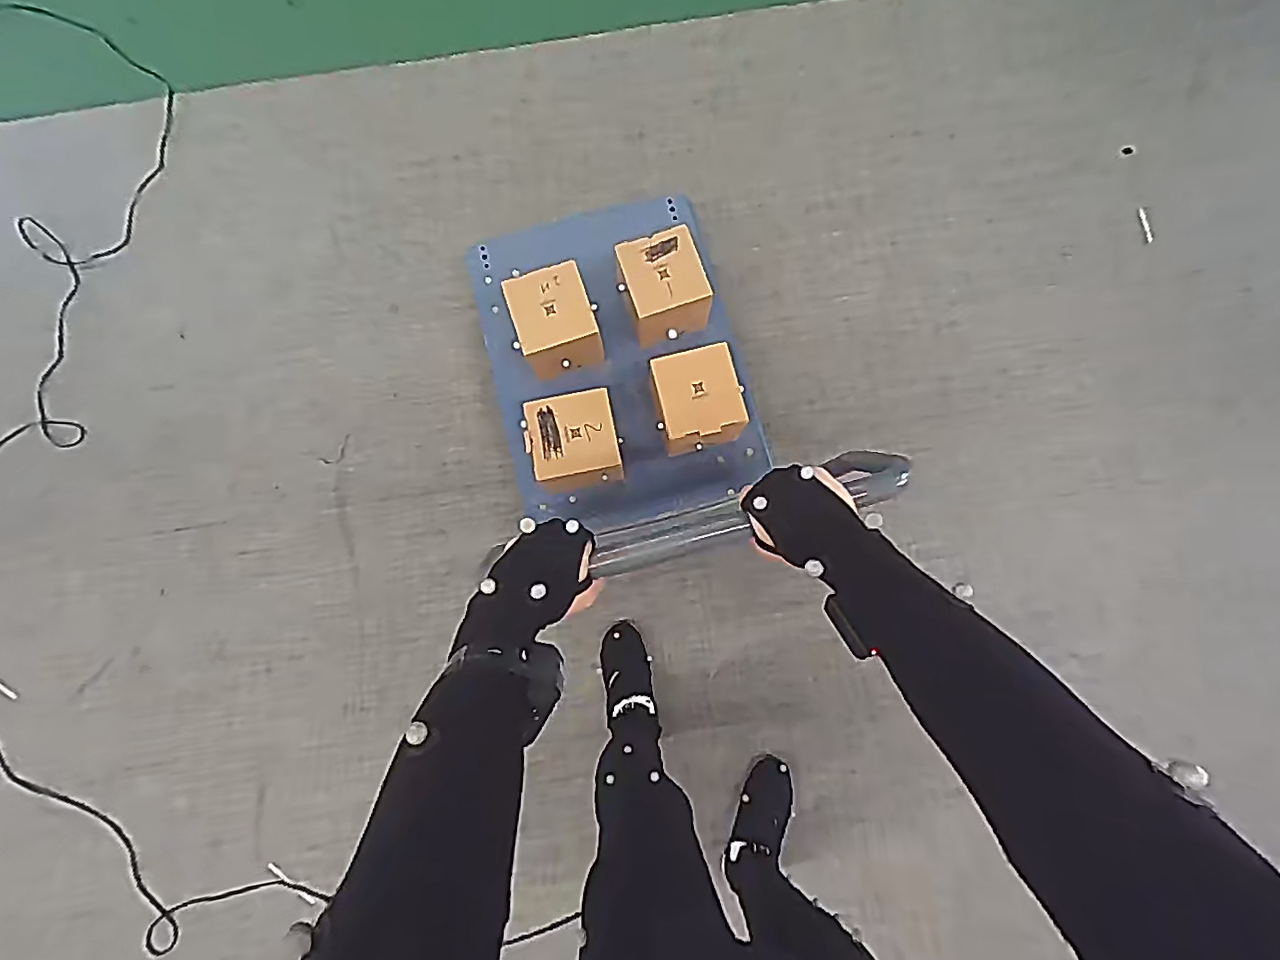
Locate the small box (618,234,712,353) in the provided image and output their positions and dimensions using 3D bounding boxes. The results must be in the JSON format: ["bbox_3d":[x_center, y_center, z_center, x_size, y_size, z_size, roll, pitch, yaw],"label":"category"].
[{"bbox_3d":[0.053,-0.421,1.242,0.168,0.176,0.179,-18,82,-2],"label":"small box"}]

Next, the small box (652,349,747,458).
[{"bbox_3d":[0.123,-0.163,1.199,0.168,0.176,0.179,-14,81,-2],"label":"small box"}]

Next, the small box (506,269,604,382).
[{"bbox_3d":[-0.185,-0.339,1.232,0.168,0.176,0.179,-18,81,-3],"label":"small box"}]
